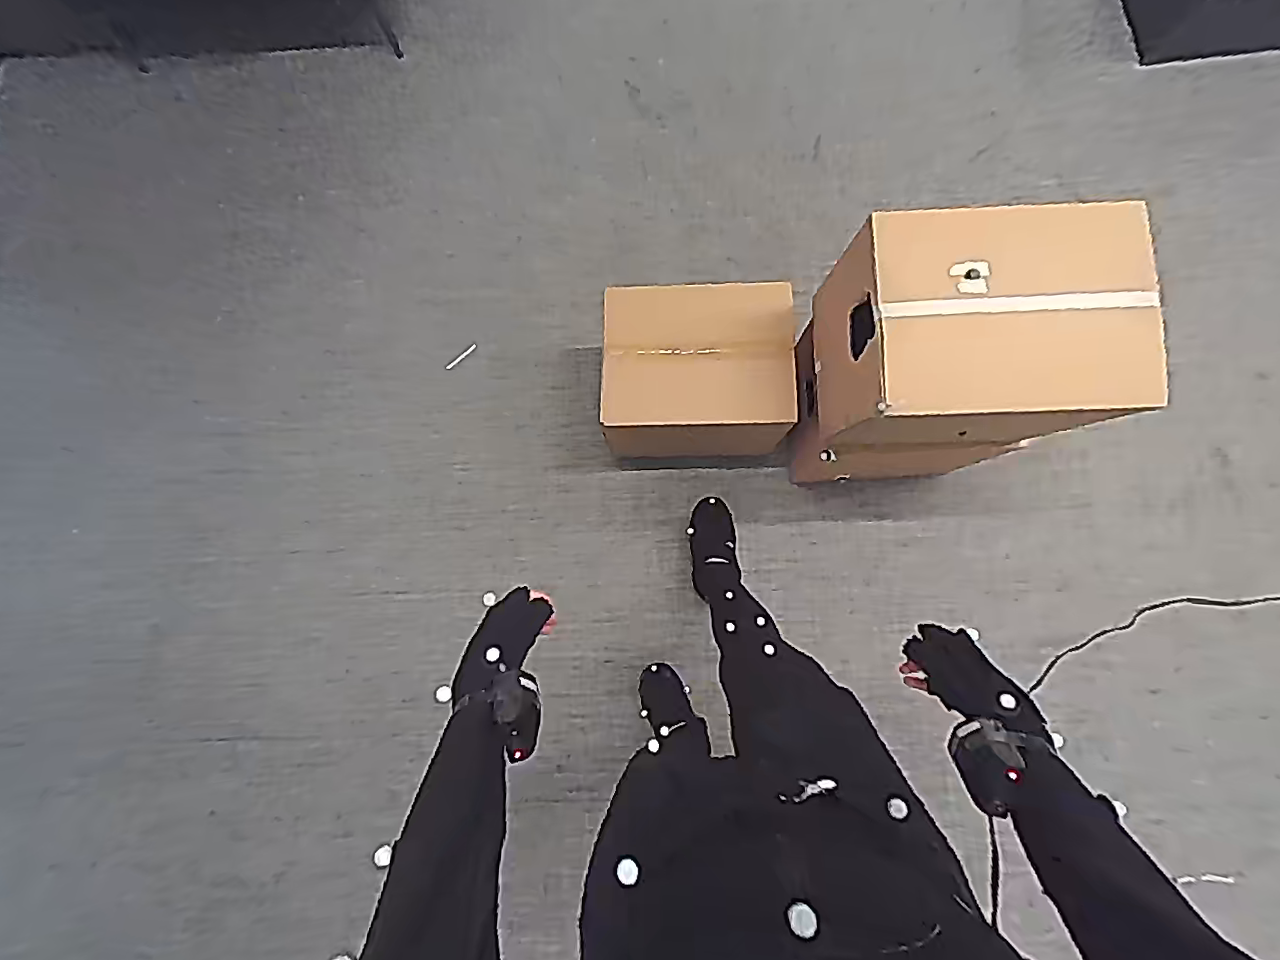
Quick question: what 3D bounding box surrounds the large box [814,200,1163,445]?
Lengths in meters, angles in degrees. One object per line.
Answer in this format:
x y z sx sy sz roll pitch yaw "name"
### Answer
0.548 -0.237 0.934 0.408 0.320 0.320 -2 85 3 "large box"
